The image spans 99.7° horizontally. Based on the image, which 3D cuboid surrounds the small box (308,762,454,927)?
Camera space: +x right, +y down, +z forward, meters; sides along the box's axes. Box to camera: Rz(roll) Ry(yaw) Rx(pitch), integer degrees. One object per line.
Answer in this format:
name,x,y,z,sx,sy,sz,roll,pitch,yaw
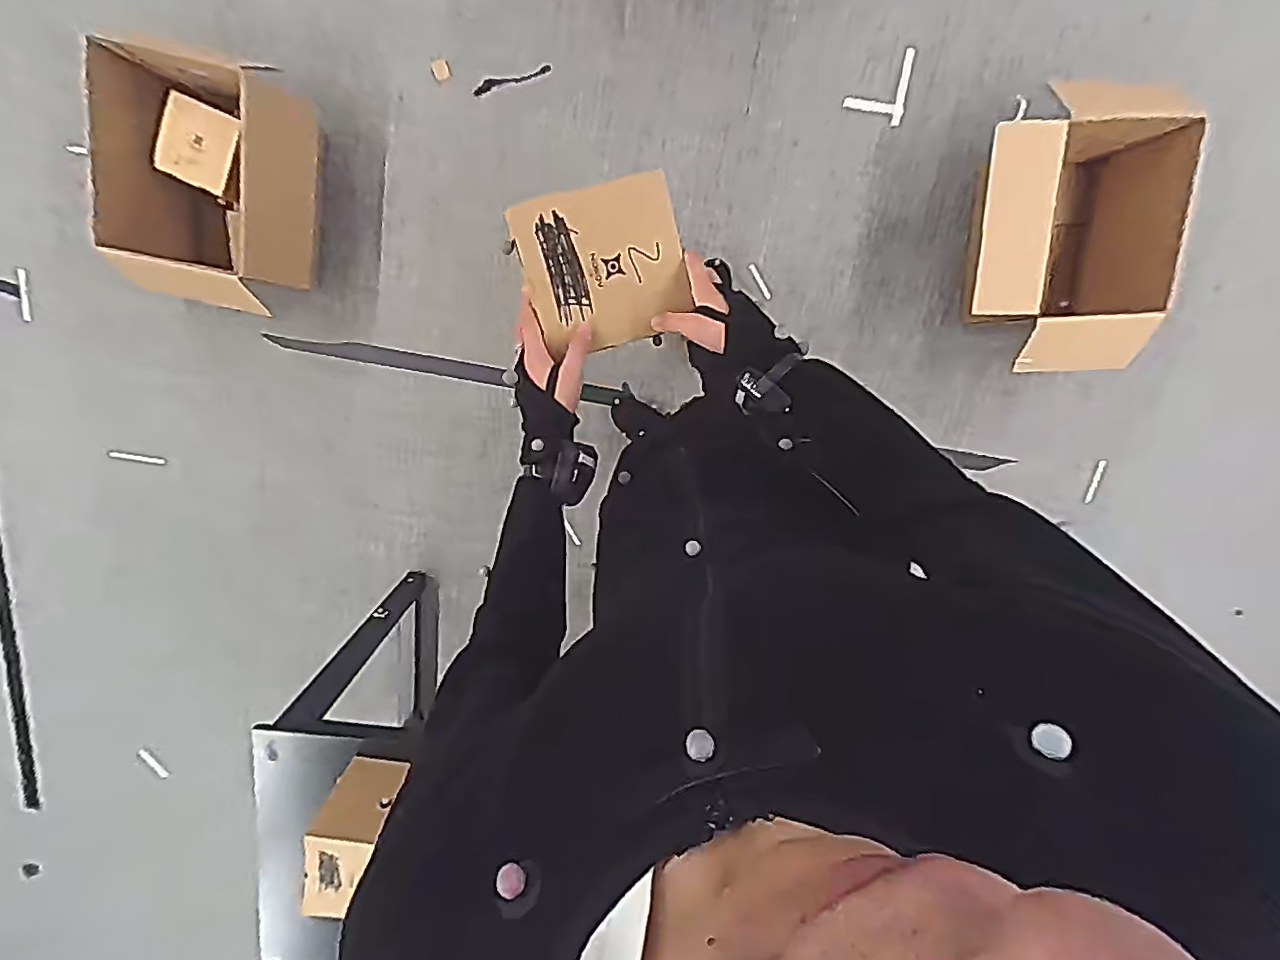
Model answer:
small box,-0.444,0.626,0.945,0.179,0.176,0.168,10,105,-5
